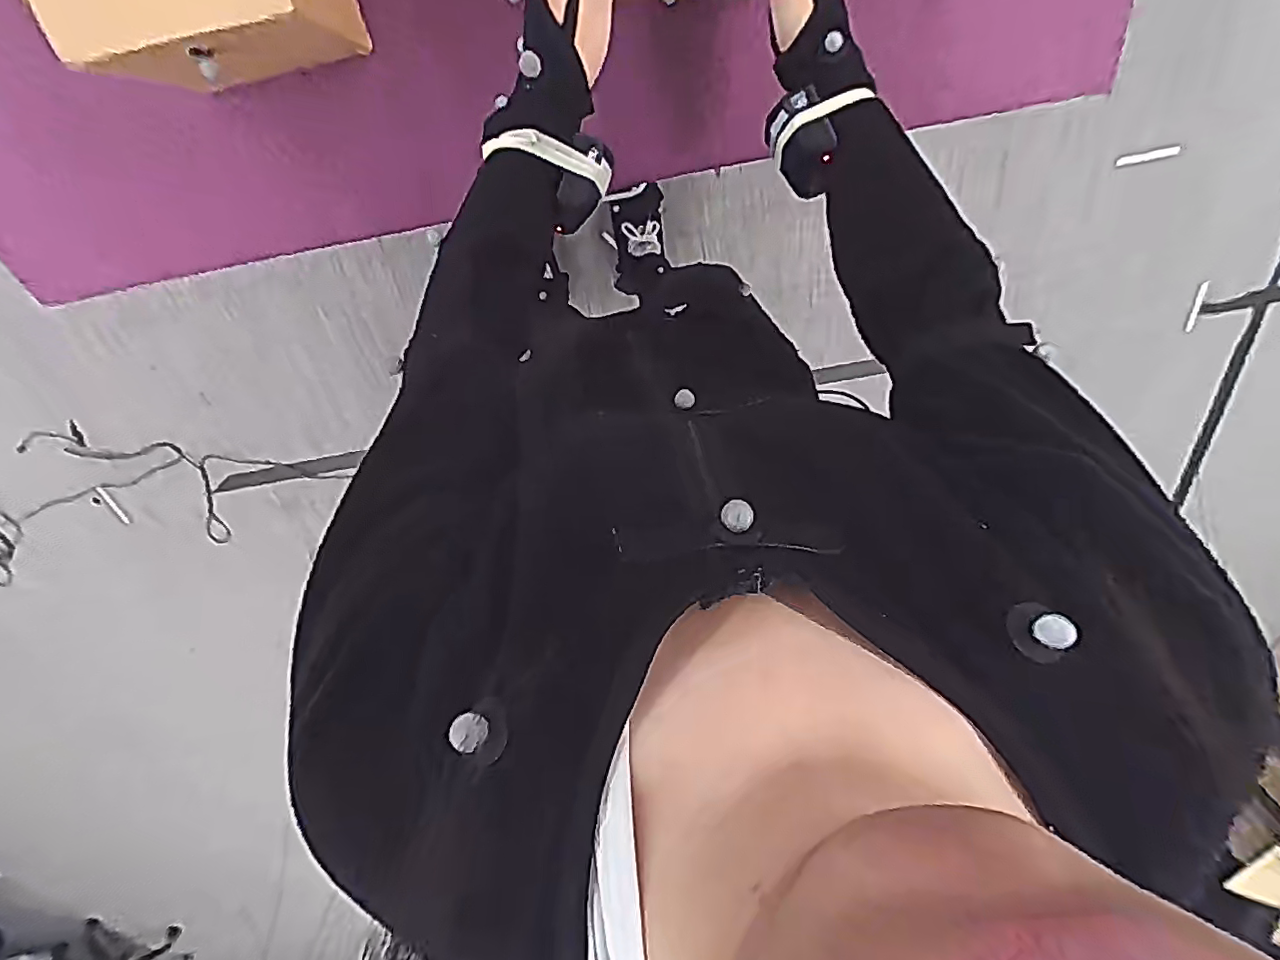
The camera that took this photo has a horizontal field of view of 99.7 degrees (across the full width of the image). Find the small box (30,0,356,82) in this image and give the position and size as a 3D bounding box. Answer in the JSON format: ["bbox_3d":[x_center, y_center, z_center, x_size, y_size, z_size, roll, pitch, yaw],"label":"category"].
[{"bbox_3d":[-0.346,-0.424,0.410,0.179,0.176,0.168,-11,121,2],"label":"small box"}]
